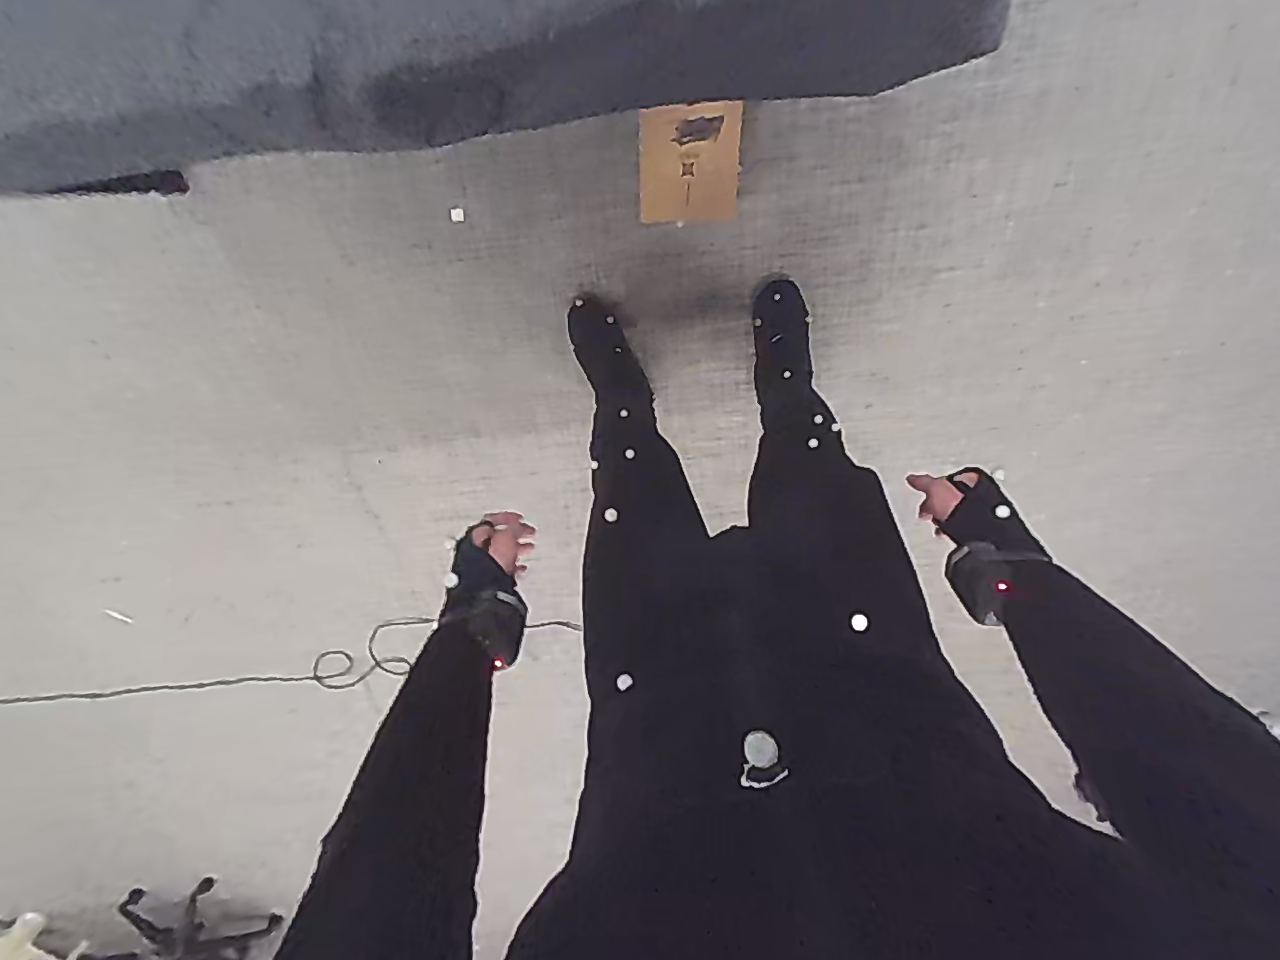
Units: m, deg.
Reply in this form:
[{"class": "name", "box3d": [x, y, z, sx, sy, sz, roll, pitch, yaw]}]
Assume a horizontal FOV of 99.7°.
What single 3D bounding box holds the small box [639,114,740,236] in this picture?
[{"class": "small box", "box3d": [0.083, -0.541, 0.972, 0.168, 0.176, 0.179, -1, 118, 3]}]
